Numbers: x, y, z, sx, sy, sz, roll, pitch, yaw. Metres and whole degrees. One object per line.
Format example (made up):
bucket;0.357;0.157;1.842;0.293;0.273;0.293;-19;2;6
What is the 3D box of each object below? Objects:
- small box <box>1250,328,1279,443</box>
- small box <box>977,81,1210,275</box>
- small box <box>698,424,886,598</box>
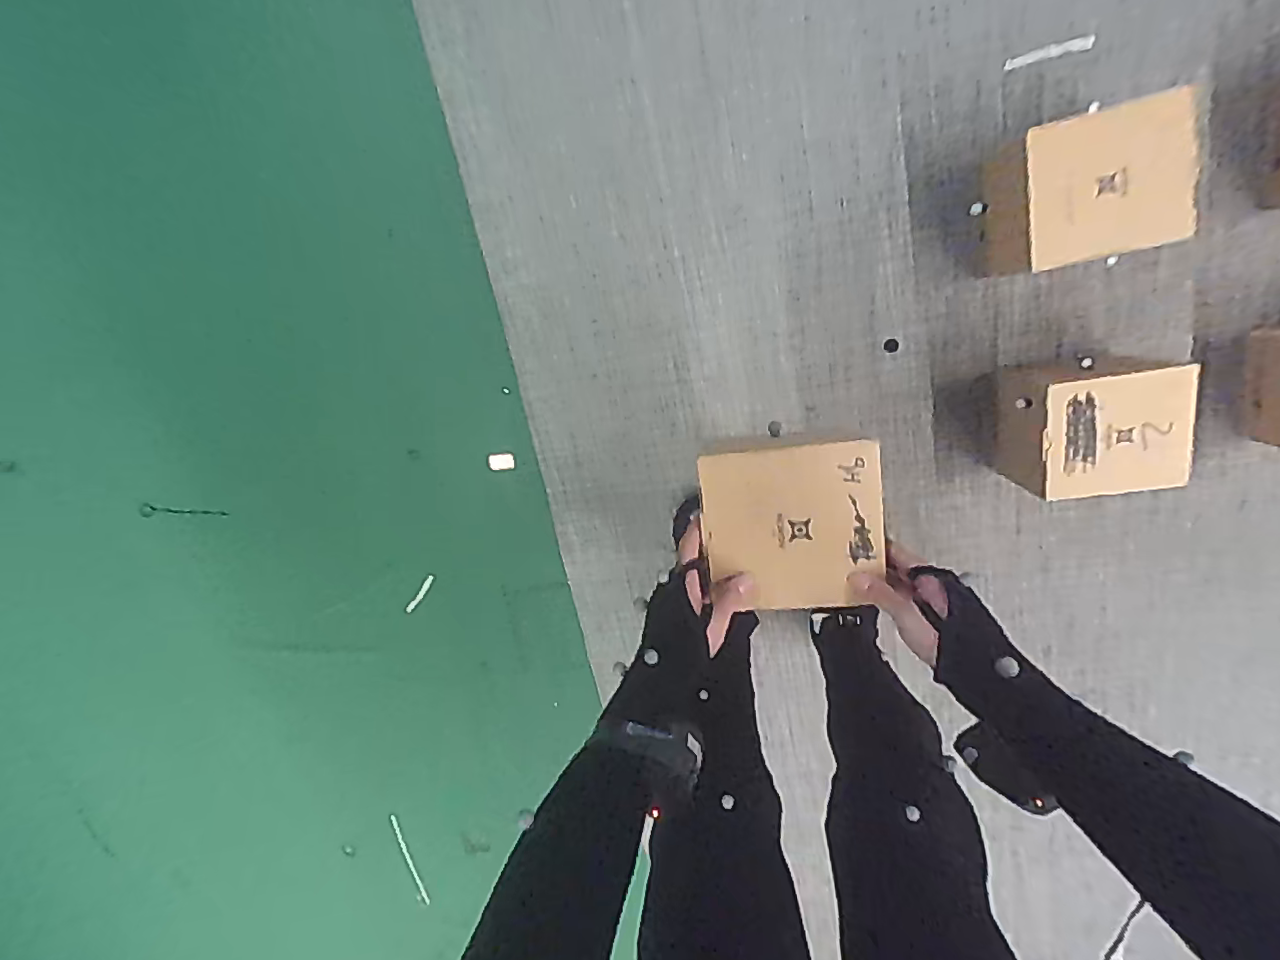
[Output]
small box;0.981;-0.132;0.715;0.179;0.176;0.168;-11;105;12
small box;0.574;-0.375;0.708;0.179;0.176;0.168;-9;104;13
small box;0.166;0.027;0.614;0.179;0.176;0.168;-4;98;11
